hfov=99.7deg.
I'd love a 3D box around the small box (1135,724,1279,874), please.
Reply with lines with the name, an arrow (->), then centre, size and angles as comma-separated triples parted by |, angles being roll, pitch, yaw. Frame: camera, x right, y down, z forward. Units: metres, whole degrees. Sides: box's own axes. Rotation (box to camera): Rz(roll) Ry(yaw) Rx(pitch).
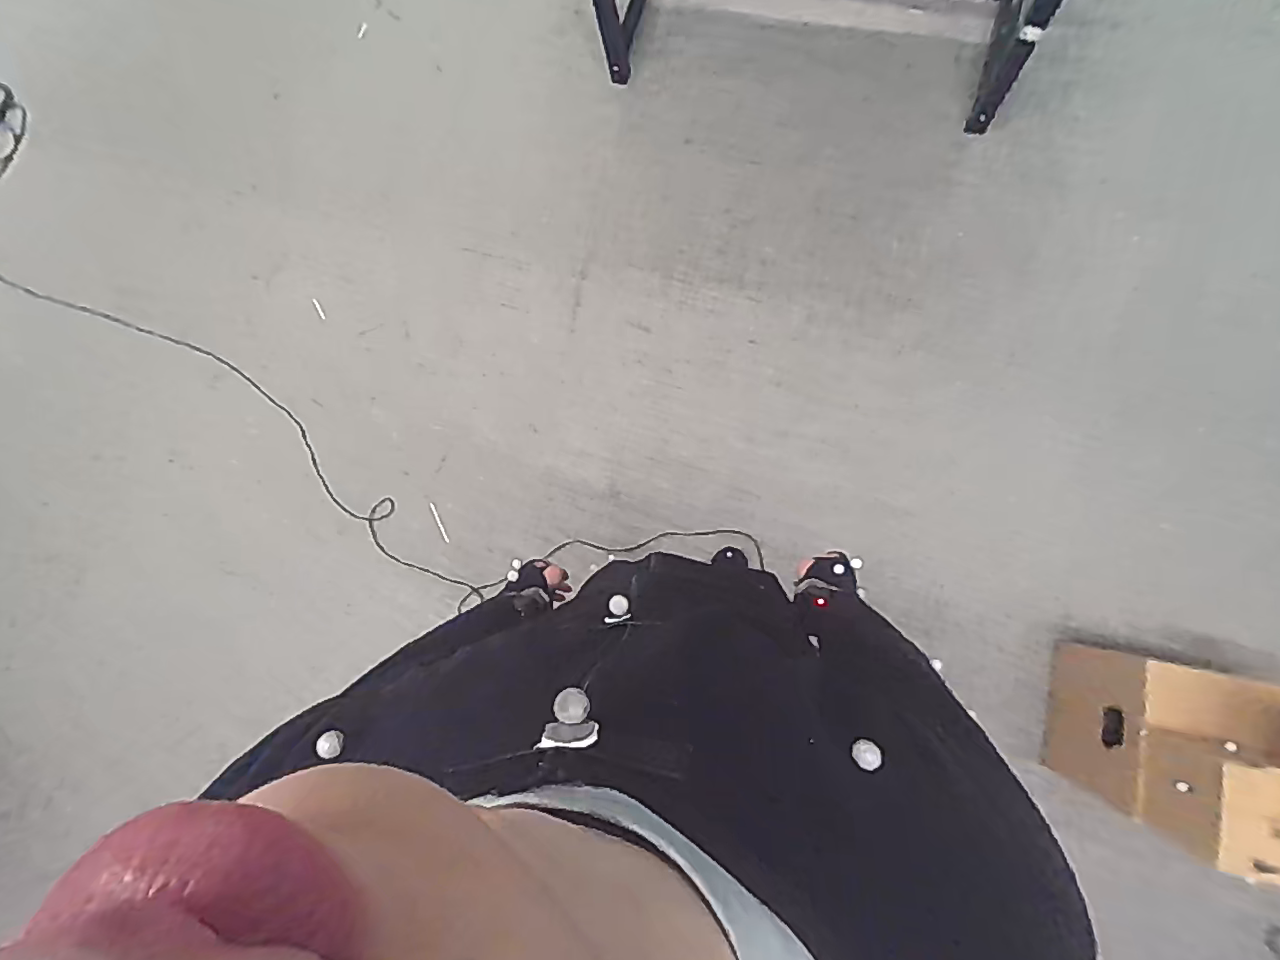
small box -> 1.036, 0.560, 0.964 | 0.168, 0.176, 0.179 | 9, 84, 10
